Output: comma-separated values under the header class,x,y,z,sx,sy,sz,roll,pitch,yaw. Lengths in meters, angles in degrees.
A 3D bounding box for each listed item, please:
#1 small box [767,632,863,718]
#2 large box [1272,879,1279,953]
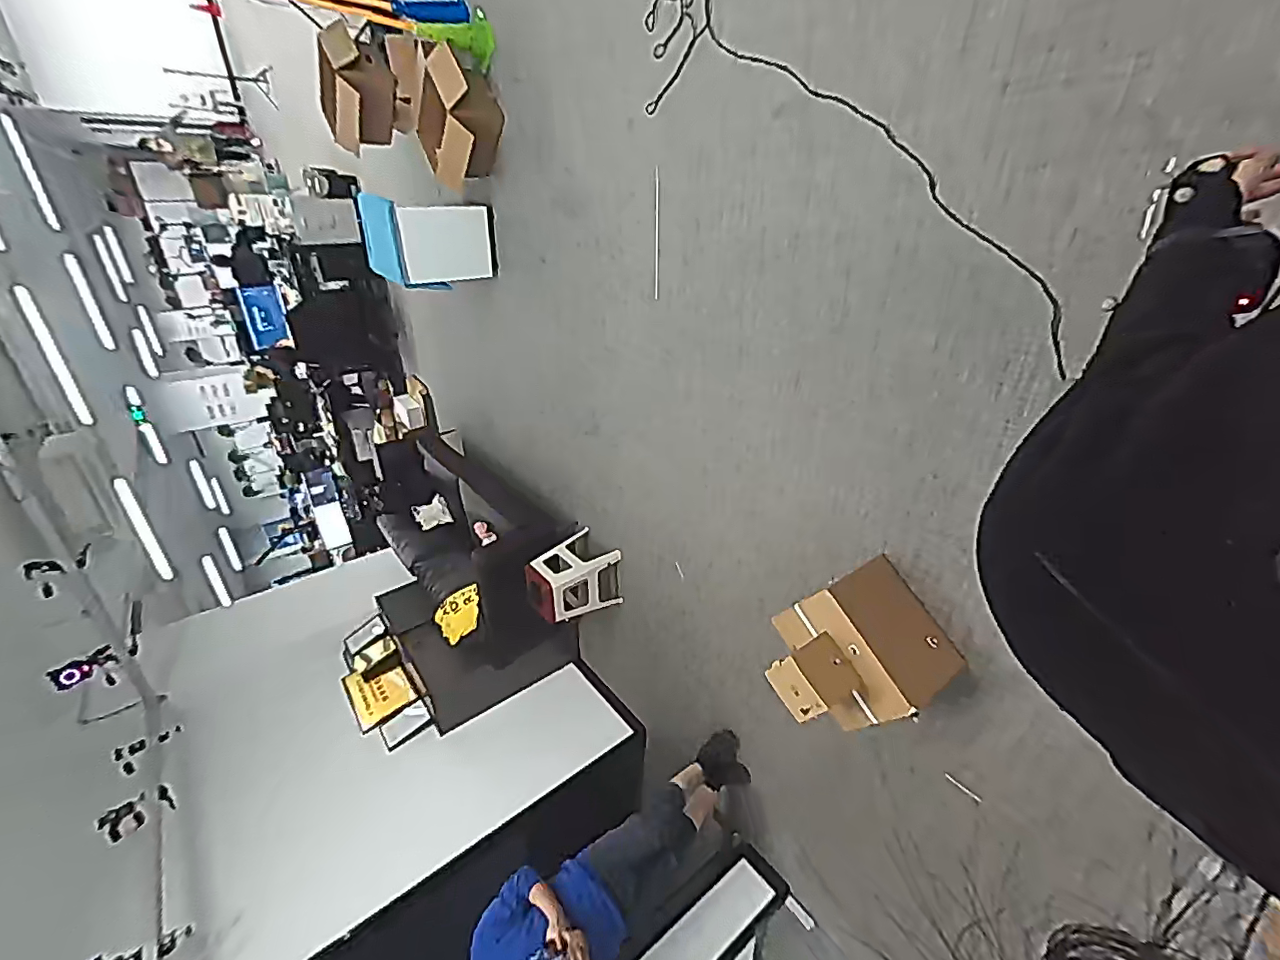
class,x,y,z,sx,sy,sz,roll,pitch,yaw
small box,0.529,0.584,1.638,0.179,0.176,0.168,55,146,21
large box,1.409,0.725,0.915,0.408,0.320,0.320,13,119,50
